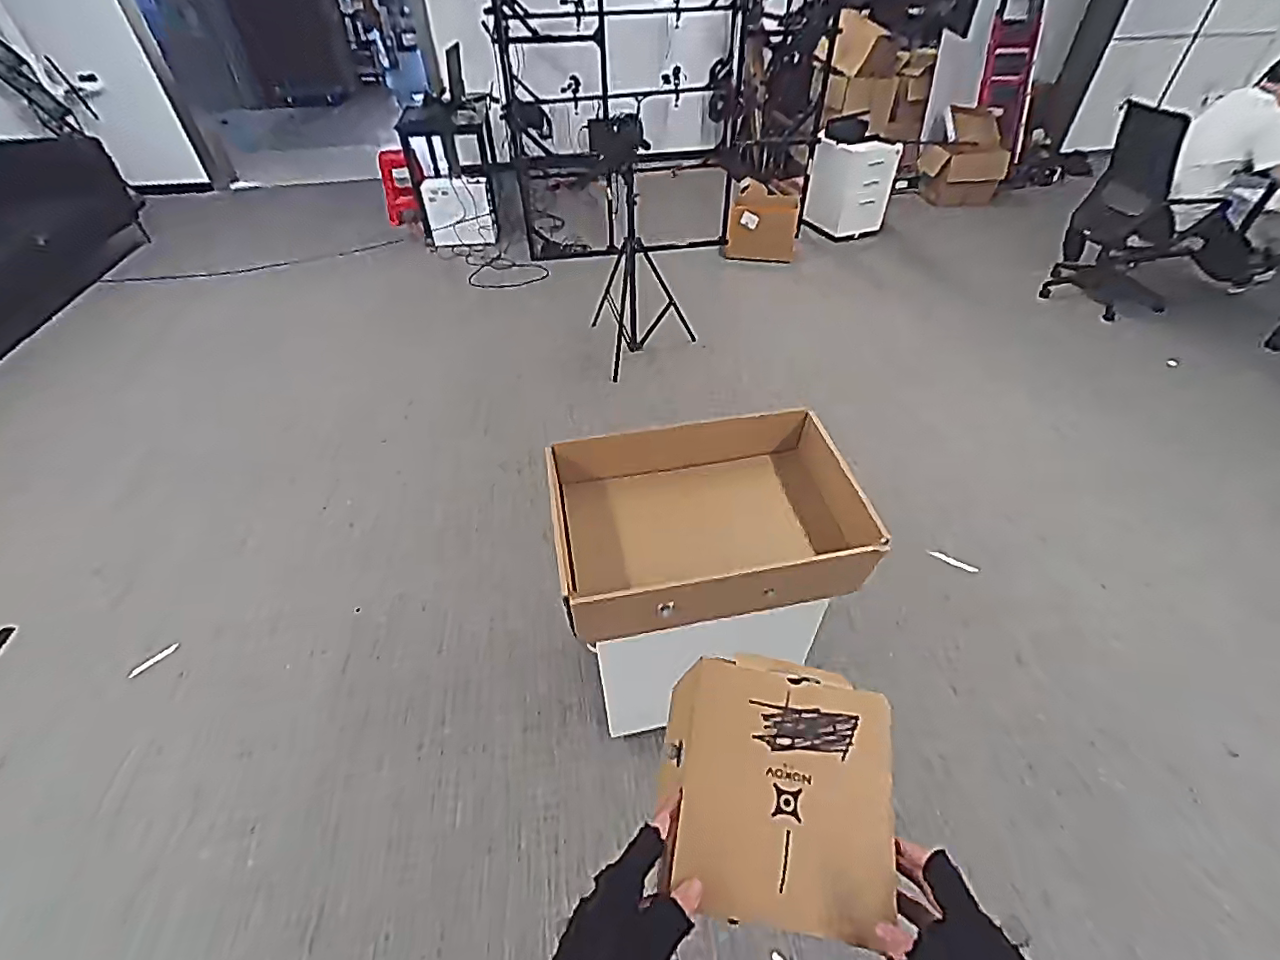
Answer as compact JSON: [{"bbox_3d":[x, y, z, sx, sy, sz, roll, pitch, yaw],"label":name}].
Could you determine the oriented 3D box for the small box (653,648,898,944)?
[{"bbox_3d":[0.111,0.273,0.491,0.168,0.176,0.179,12,61,2],"label":"small box"}]
